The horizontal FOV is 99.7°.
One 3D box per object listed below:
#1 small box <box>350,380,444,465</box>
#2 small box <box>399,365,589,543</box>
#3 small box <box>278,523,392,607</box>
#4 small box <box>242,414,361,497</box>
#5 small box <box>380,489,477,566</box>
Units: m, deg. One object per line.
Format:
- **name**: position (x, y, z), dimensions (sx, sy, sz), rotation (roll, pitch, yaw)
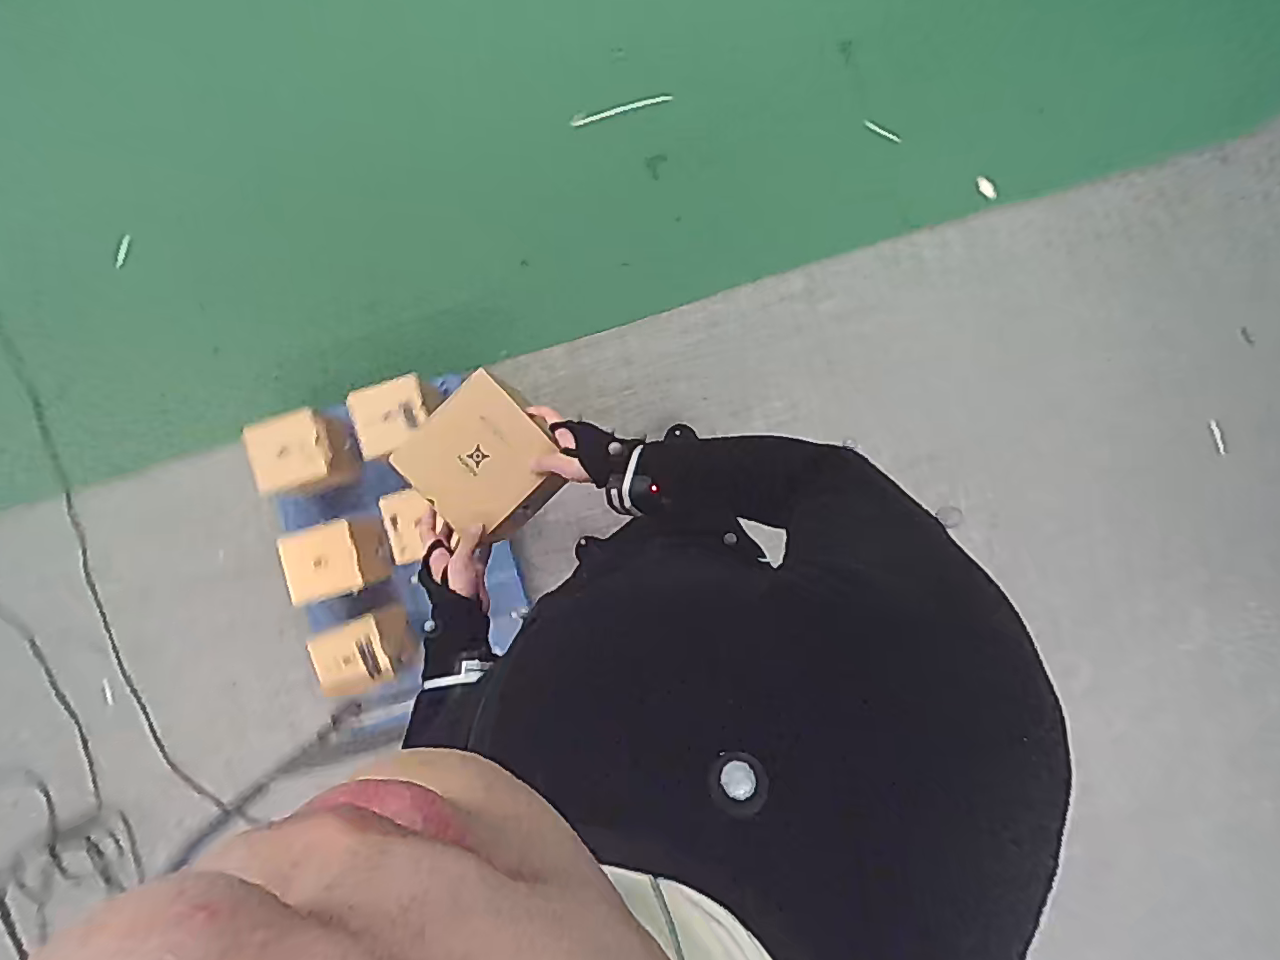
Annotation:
- **small box**: position (-0.608, -0.144, 1.407), dimensions (0.179, 0.176, 0.168), rotation (-18, 87, 0)
- **small box**: position (-0.194, -0.032, 0.777), dimensions (0.179, 0.176, 0.168), rotation (-42, 87, 2)
- **small box**: position (-0.770, 0.210, 1.379), dimensions (0.179, 0.176, 0.168), rotation (-17, 88, -2)
- **small box**: position (-0.858, -0.056, 1.386), dimensions (0.179, 0.176, 0.168), rotation (-18, 89, -1)
- **small box**: position (-0.524, 0.110, 1.382), dimensions (0.179, 0.176, 0.168), rotation (-16, 88, -1)
